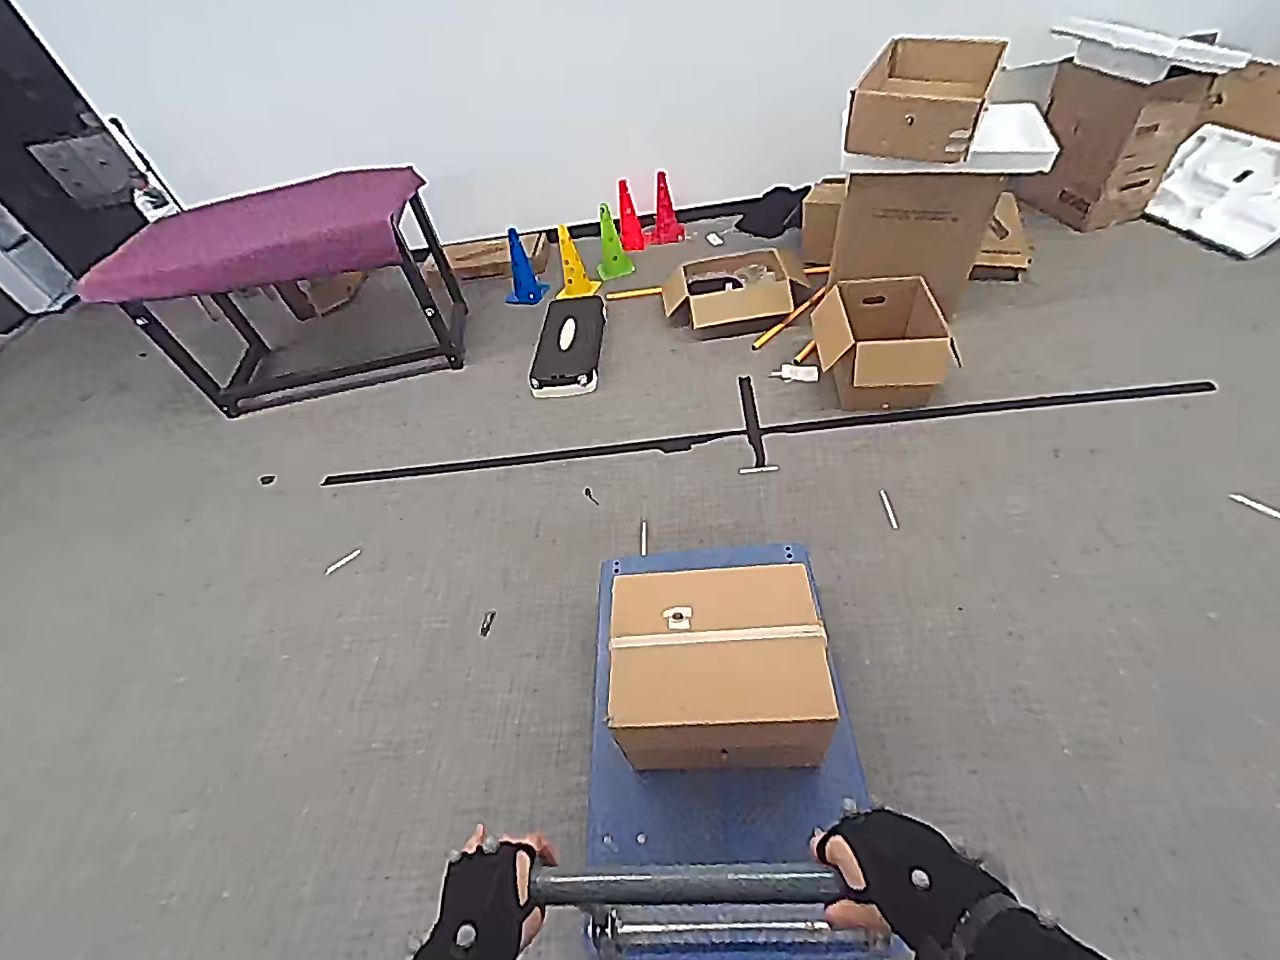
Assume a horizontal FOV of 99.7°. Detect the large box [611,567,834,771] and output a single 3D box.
[{"bbox_3d":[0.166,0.418,1.172,0.408,0.320,0.320,-7,47,7],"label":"large box"}]
